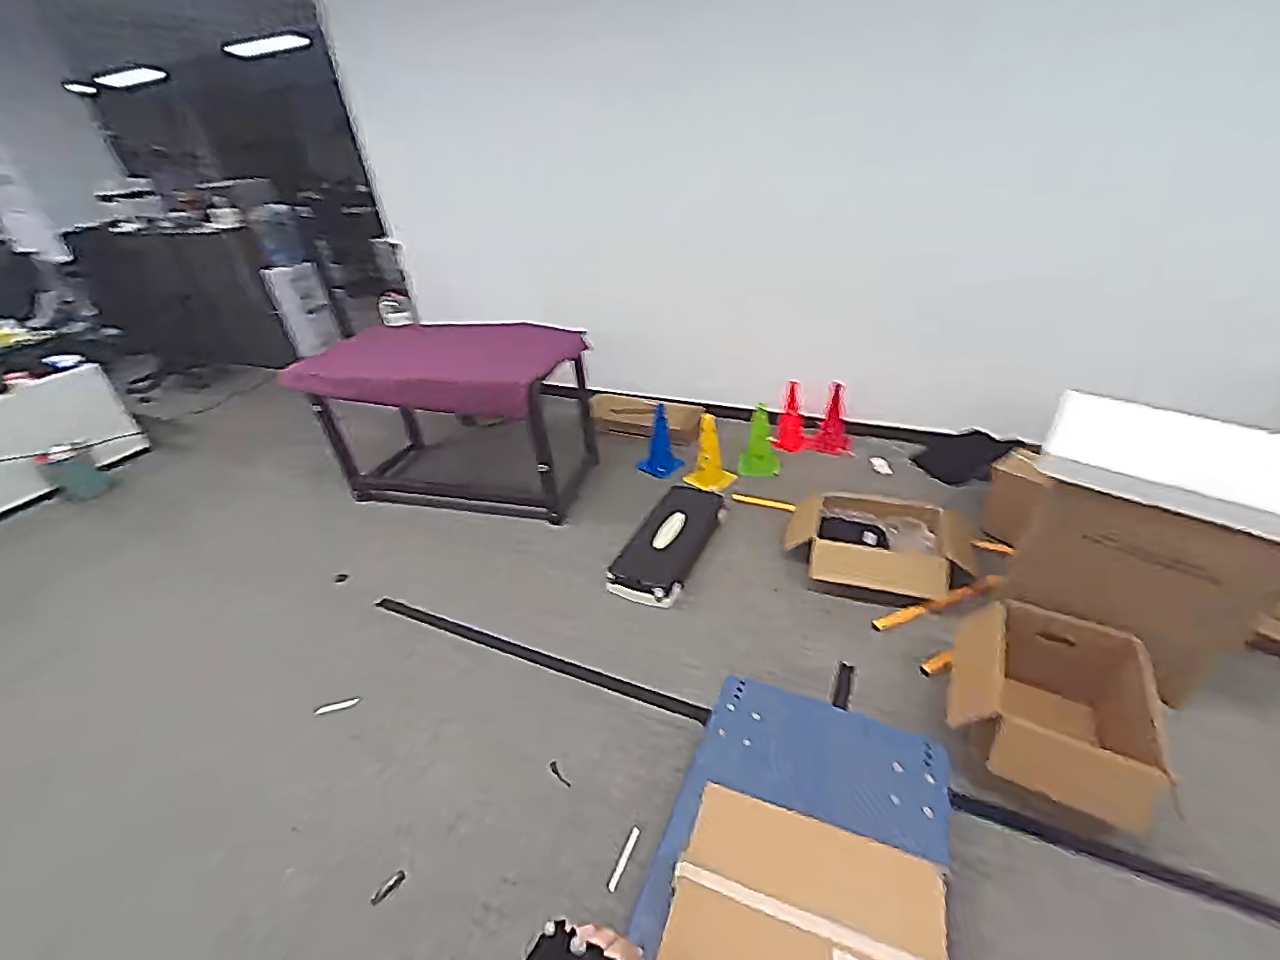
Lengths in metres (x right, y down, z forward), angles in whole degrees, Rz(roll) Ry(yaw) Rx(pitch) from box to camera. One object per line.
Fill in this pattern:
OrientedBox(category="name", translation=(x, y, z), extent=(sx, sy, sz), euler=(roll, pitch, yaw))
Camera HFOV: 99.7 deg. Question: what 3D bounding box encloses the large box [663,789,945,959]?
OrientedBox(category="large box", translation=(0.269, 0.824, 0.933), extent=(0.408, 0.320, 0.320), euler=(10, 37, 20))
